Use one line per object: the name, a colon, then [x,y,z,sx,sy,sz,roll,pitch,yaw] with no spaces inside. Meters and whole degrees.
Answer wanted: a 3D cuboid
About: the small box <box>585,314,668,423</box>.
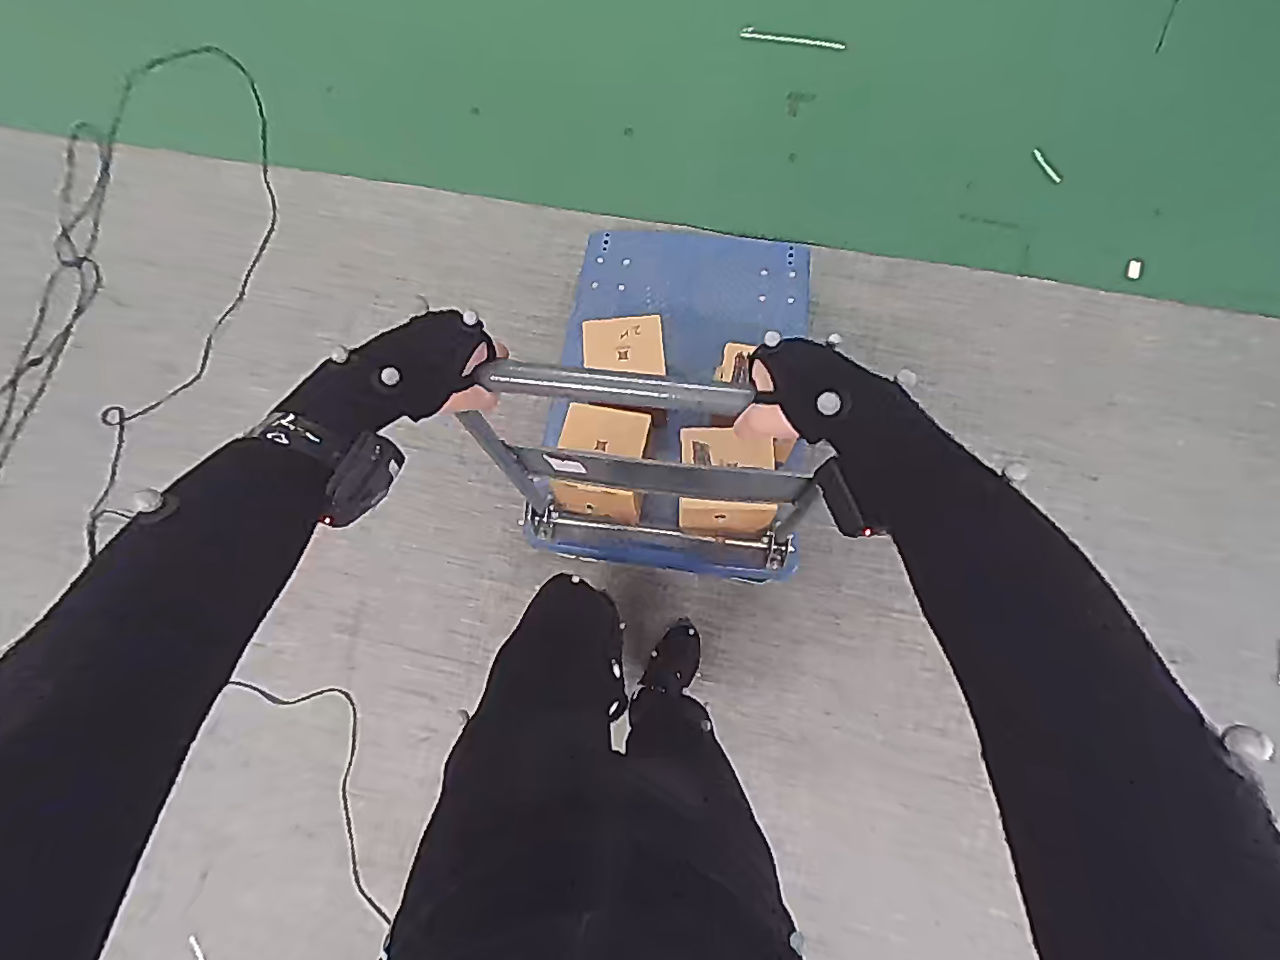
small box: [-0.026,-0.232,1.172,0.168,0.176,0.179,-4,68,1]
